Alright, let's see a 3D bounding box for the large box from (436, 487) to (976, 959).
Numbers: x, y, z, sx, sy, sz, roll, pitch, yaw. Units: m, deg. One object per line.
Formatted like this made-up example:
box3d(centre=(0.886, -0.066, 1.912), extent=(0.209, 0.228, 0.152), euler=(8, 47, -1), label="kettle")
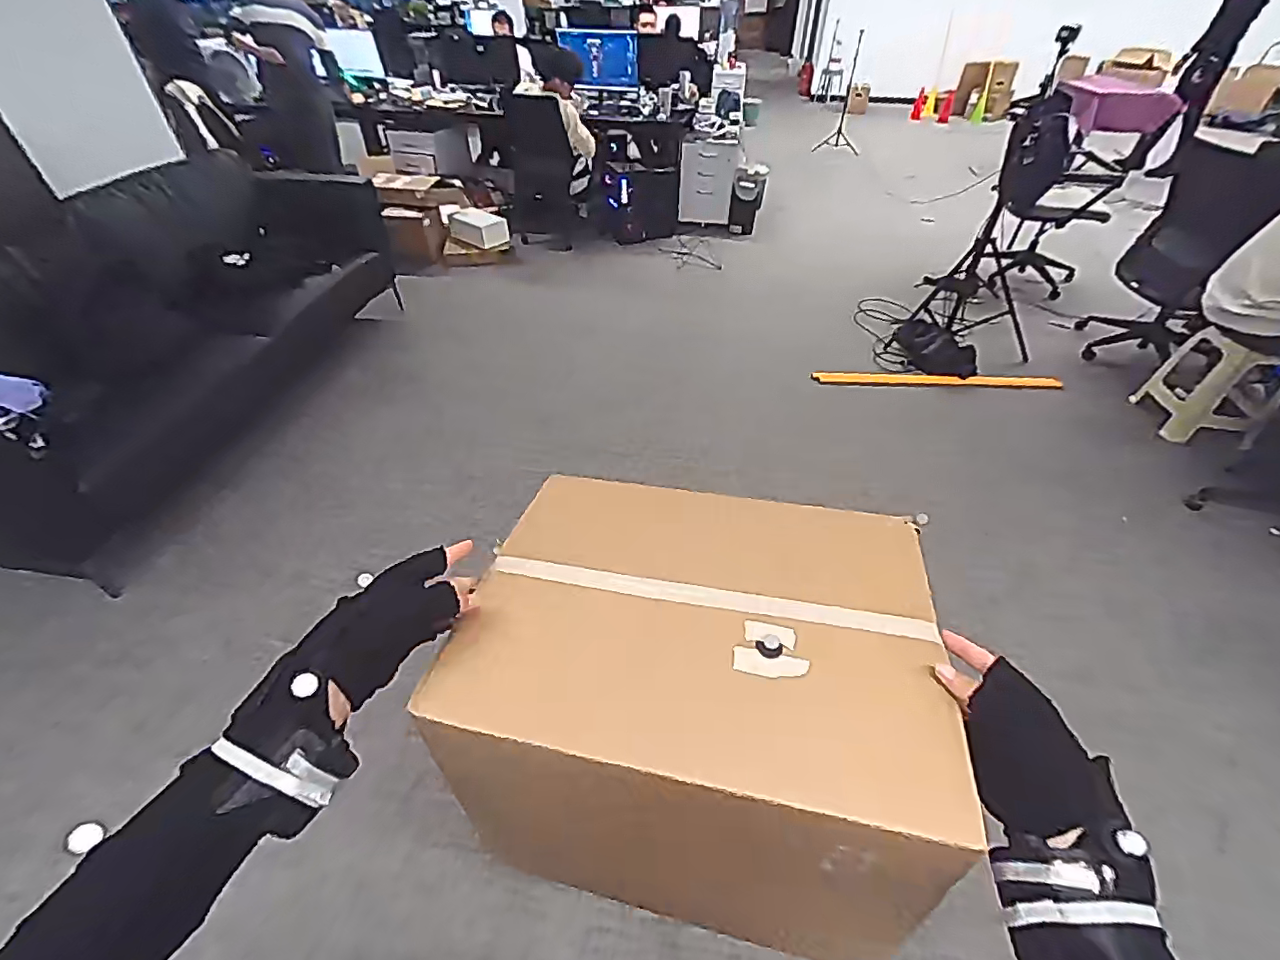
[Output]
box3d(centre=(0.066, 0.236, 0.591), extent=(0.408, 0.320, 0.320), euler=(7, 38, 13), label="large box")
